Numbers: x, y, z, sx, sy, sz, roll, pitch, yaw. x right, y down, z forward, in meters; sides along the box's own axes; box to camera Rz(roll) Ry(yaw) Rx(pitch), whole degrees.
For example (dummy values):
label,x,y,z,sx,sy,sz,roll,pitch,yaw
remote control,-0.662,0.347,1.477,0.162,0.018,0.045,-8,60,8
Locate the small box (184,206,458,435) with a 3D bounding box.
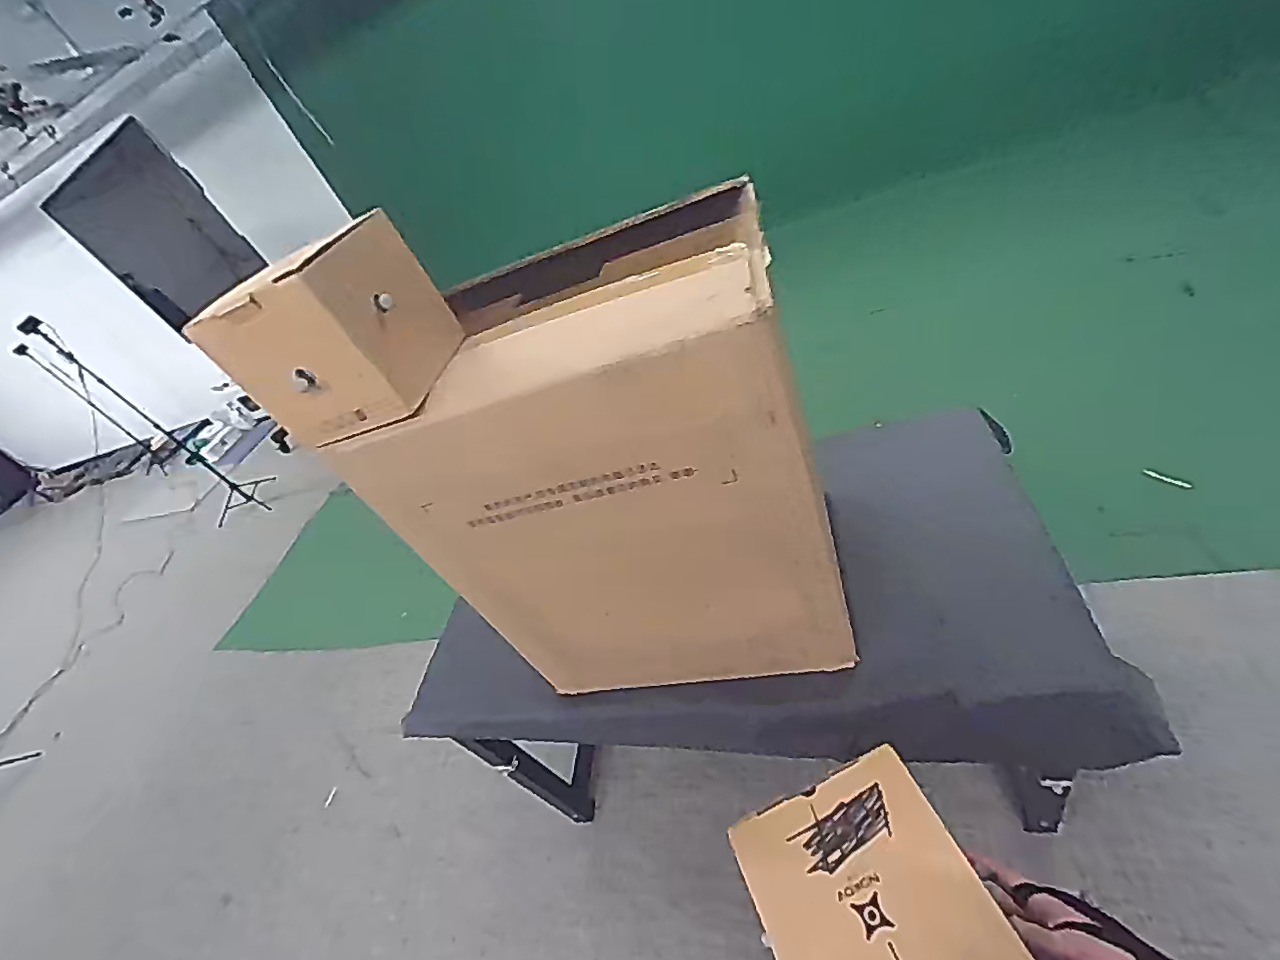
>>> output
label,x,y,z,sx,sy,sz,roll,pitch,yaw
small box,-0.339,-0.169,0.615,0.168,0.176,0.179,-13,42,20
